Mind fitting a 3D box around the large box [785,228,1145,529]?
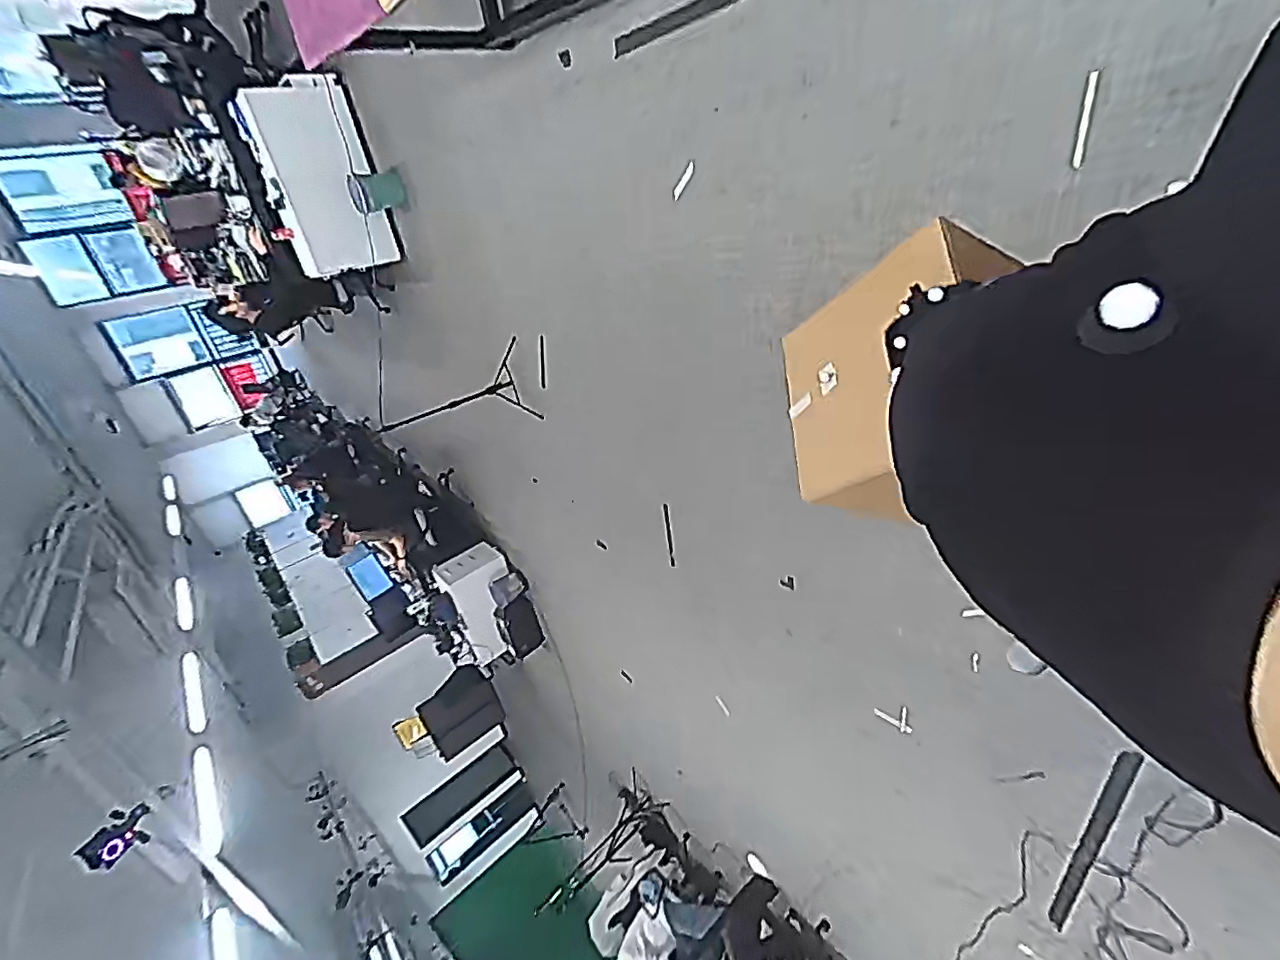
[{"bbox_3d":[0.503,-0.125,0.891,0.320,0.408,0.320,-33,50,56],"label":"large box"}]
